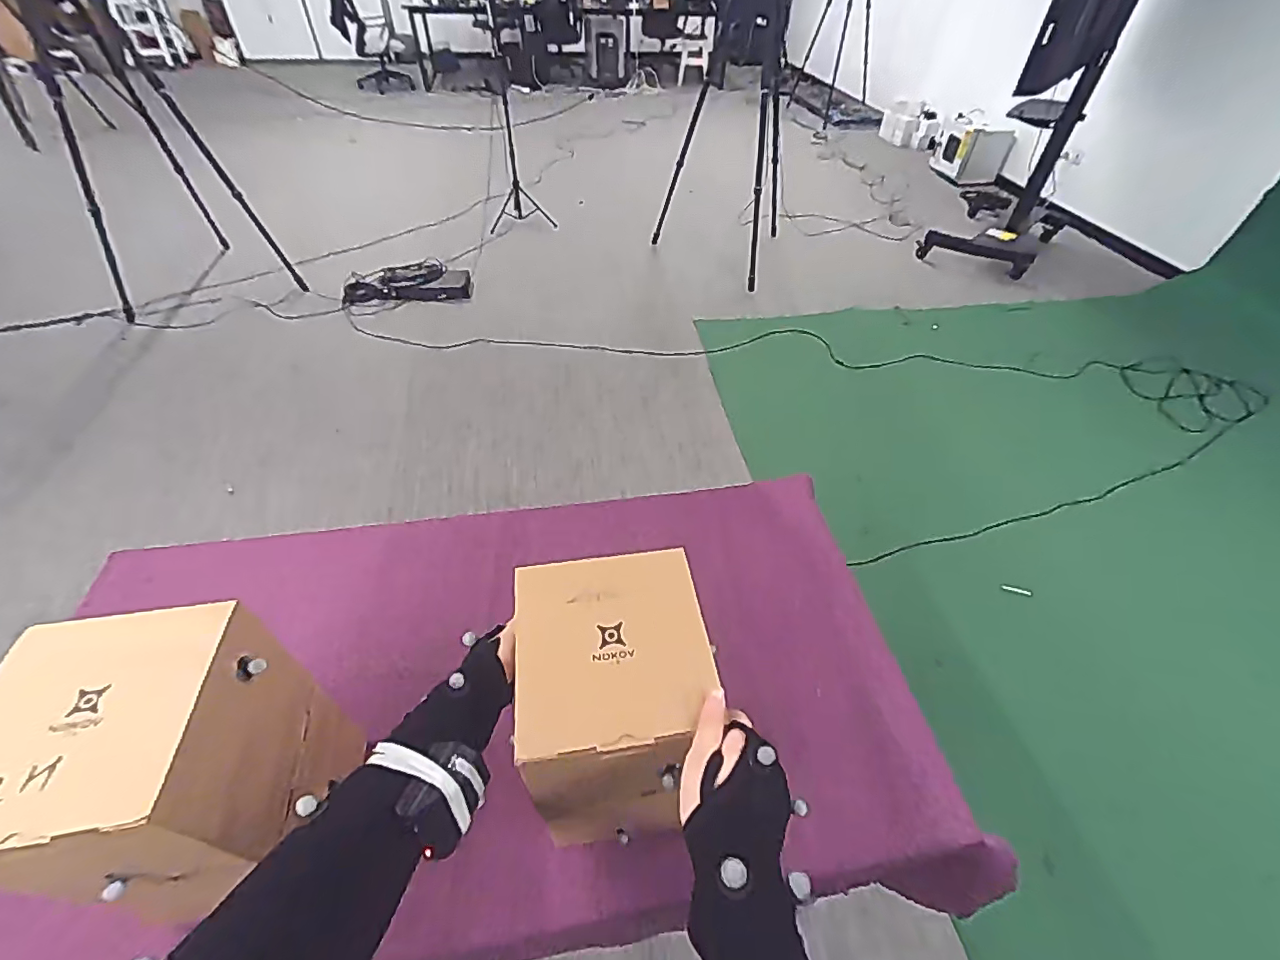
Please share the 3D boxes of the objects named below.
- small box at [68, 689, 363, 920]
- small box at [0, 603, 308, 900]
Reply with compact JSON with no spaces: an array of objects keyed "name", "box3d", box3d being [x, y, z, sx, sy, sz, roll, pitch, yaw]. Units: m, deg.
[{"name":"small box","box3d":[-0.424,0.351,0.587,0.179,0.176,0.168,-7,47,-9]},{"name":"small box","box3d":[-0.421,0.234,0.470,0.168,0.176,0.179,-6,47,-7]}]
